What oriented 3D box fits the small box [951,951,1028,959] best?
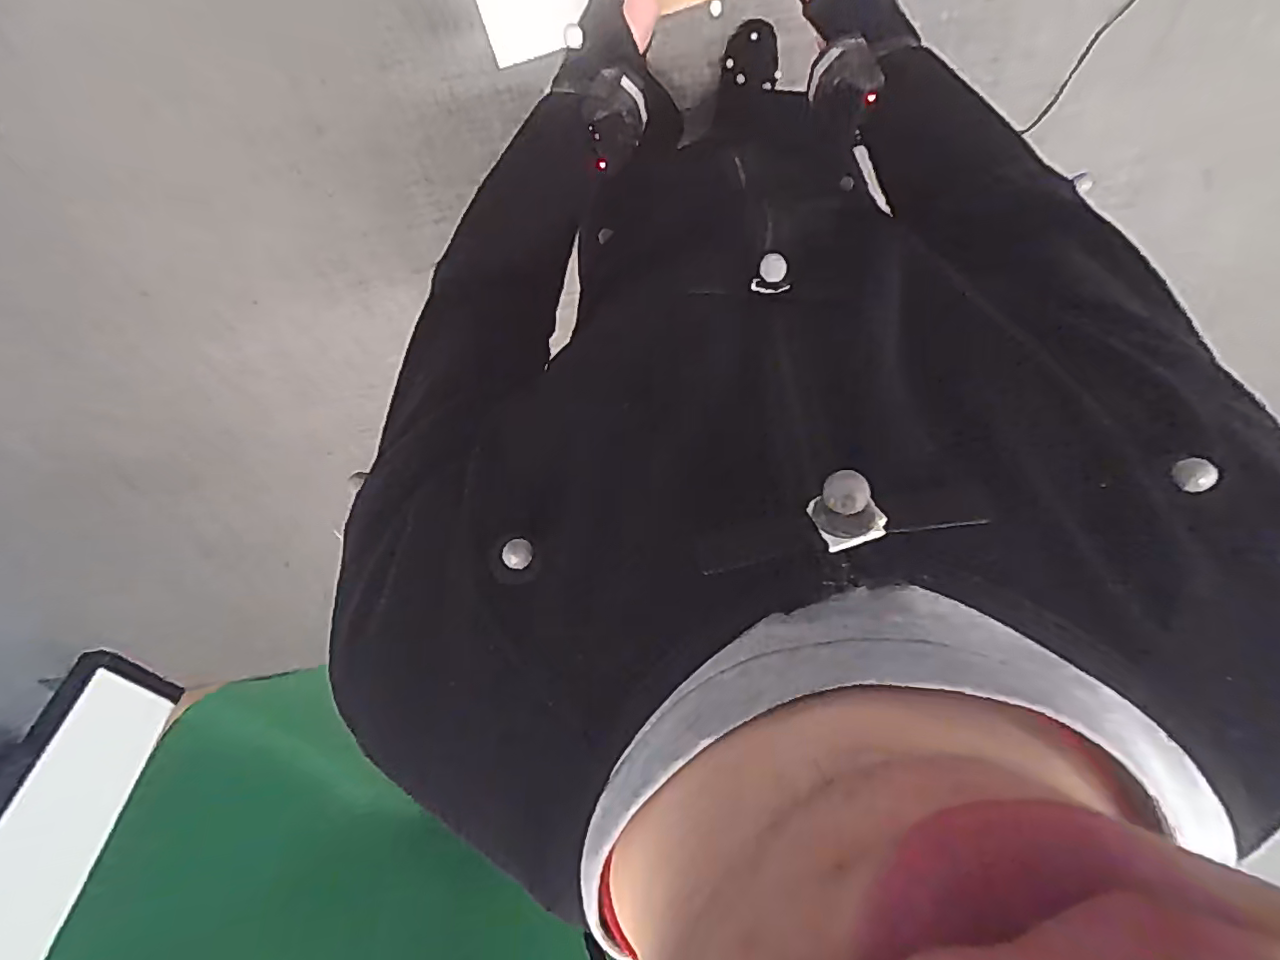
[{"bbox_3d":[0.826,1.204,1.244,0.168,0.176,0.179,-10,135,3],"label":"small box"}]

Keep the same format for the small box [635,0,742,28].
[{"bbox_3d":[0.060,-0.556,0.499,0.168,0.176,0.179,-14,134,8],"label":"small box"}]
